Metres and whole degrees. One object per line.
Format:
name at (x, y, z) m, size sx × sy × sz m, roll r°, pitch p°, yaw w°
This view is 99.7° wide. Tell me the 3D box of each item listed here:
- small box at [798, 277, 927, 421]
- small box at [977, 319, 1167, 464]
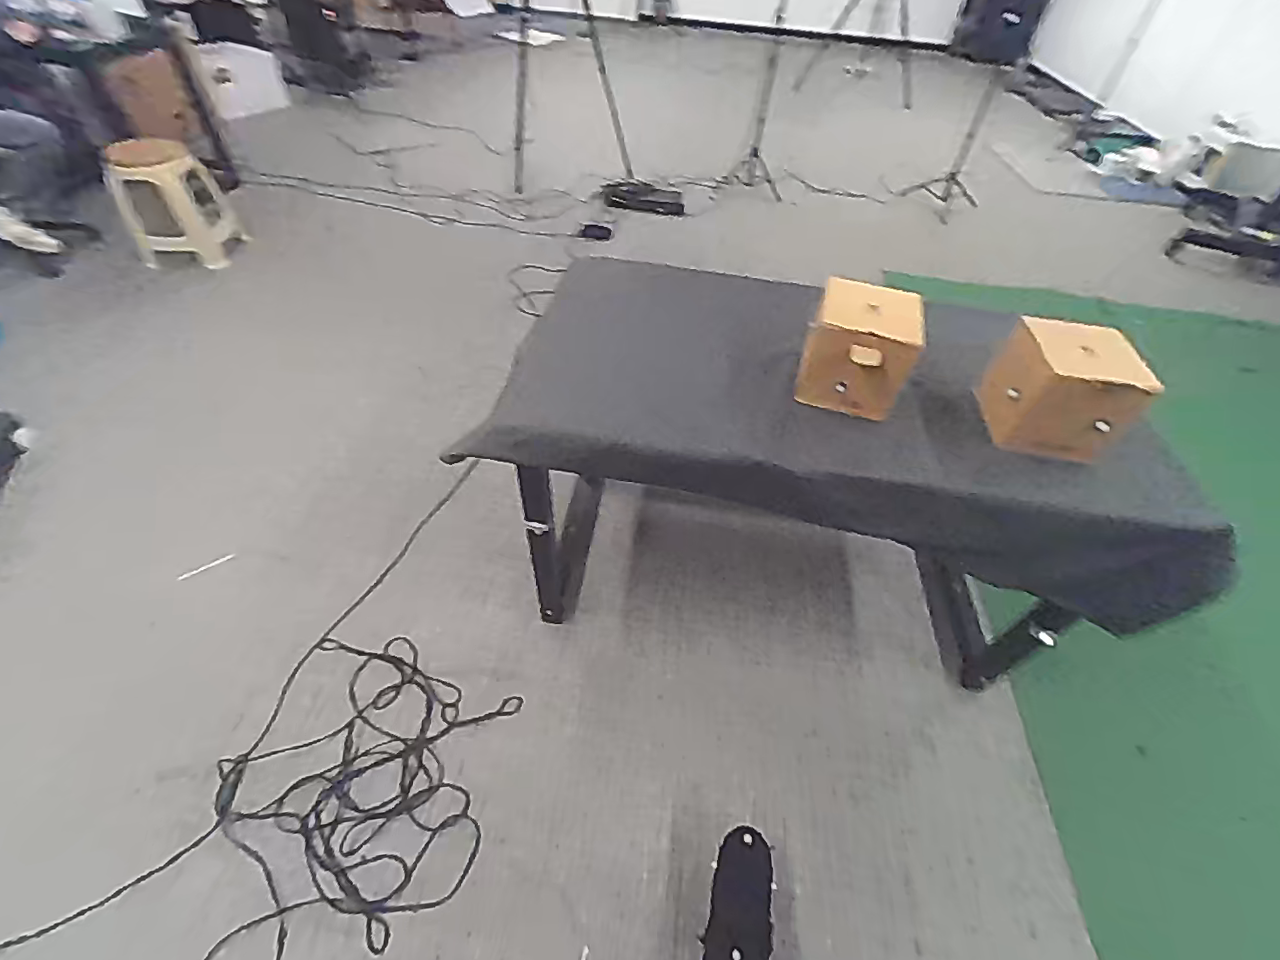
small box at (0.398, -0.237, 0.985) m, size 0.168 × 0.176 × 0.179 m, roll 16°, pitch 48°, yaw 9°
small box at (0.723, -0.150, 0.932) m, size 0.168 × 0.176 × 0.179 m, roll 10°, pitch 46°, yaw 3°
